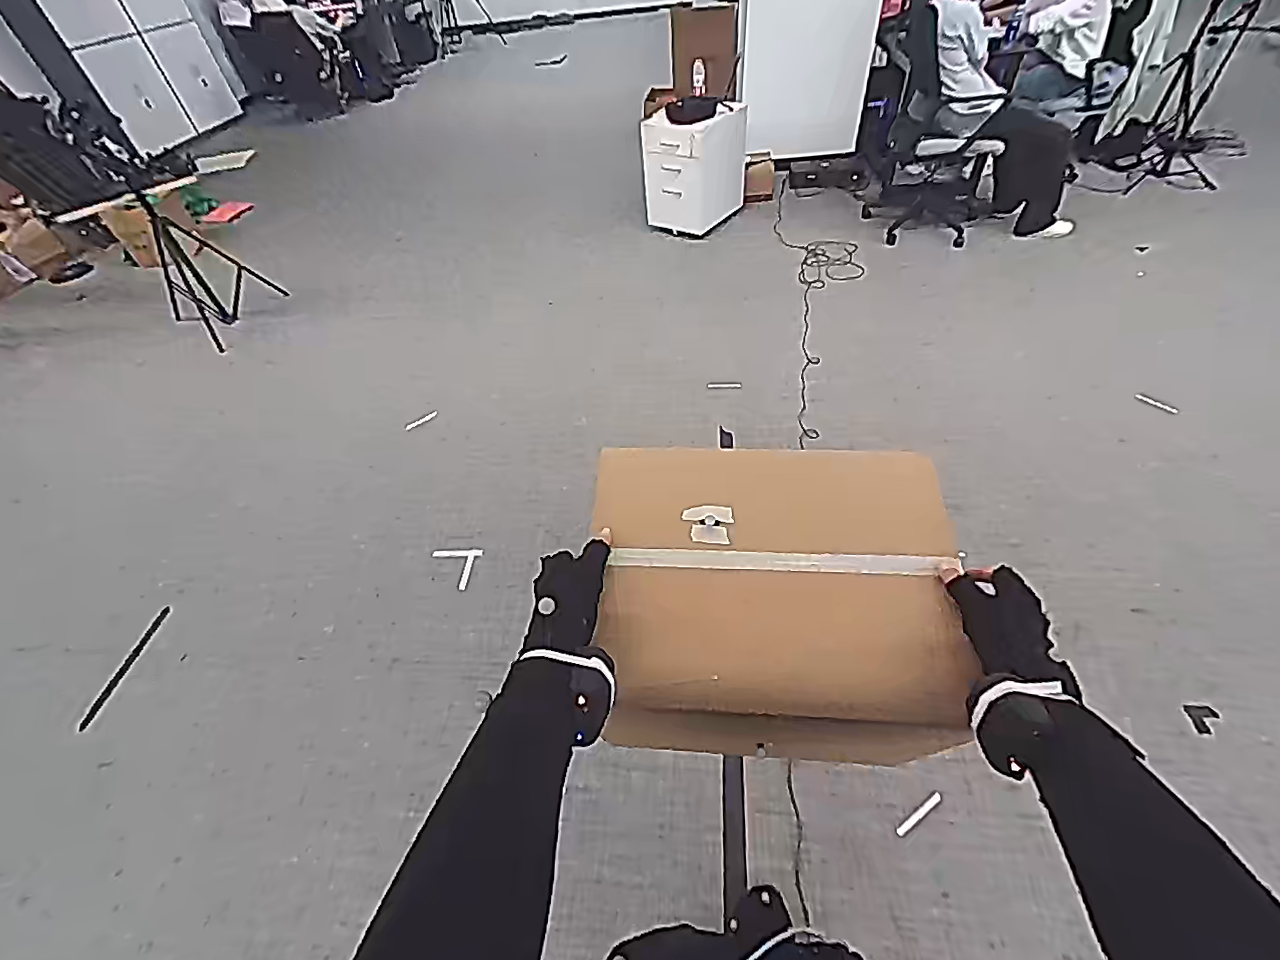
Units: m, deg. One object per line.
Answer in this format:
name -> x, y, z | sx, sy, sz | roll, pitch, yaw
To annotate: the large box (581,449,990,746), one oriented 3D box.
large box -> 0.158, 0.171, 0.733 | 0.408, 0.320, 0.320 | 0, 57, 6
